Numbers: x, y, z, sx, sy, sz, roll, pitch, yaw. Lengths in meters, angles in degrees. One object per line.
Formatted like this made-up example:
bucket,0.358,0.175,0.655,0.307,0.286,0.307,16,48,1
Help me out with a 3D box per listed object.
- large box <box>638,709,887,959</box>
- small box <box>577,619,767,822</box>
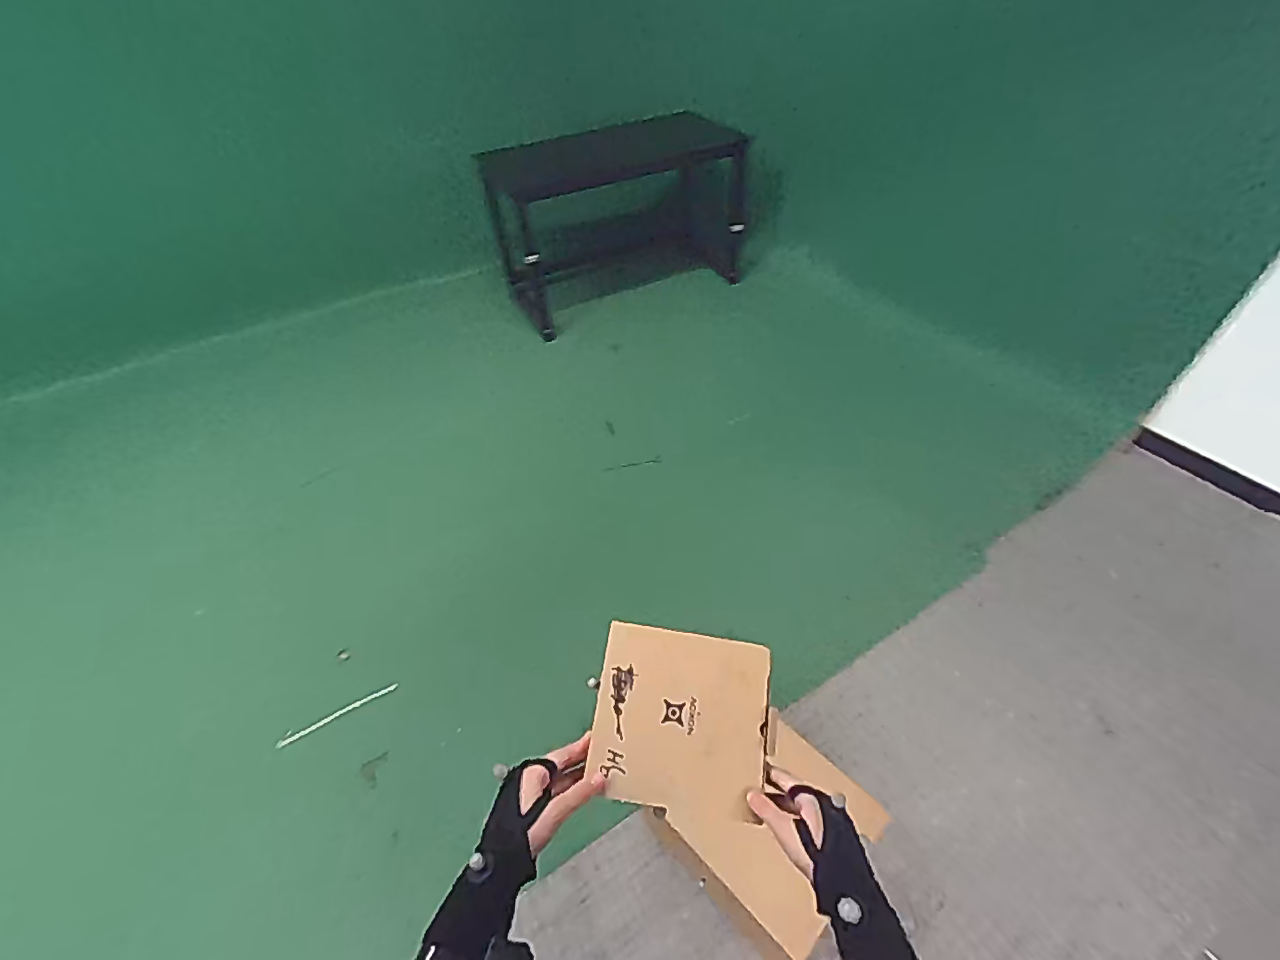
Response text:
large box,0.240,0.732,1.170,0.320,0.320,0.408,-37,53,-28
small box,0.032,0.270,0.613,0.179,0.176,0.168,9,62,1
